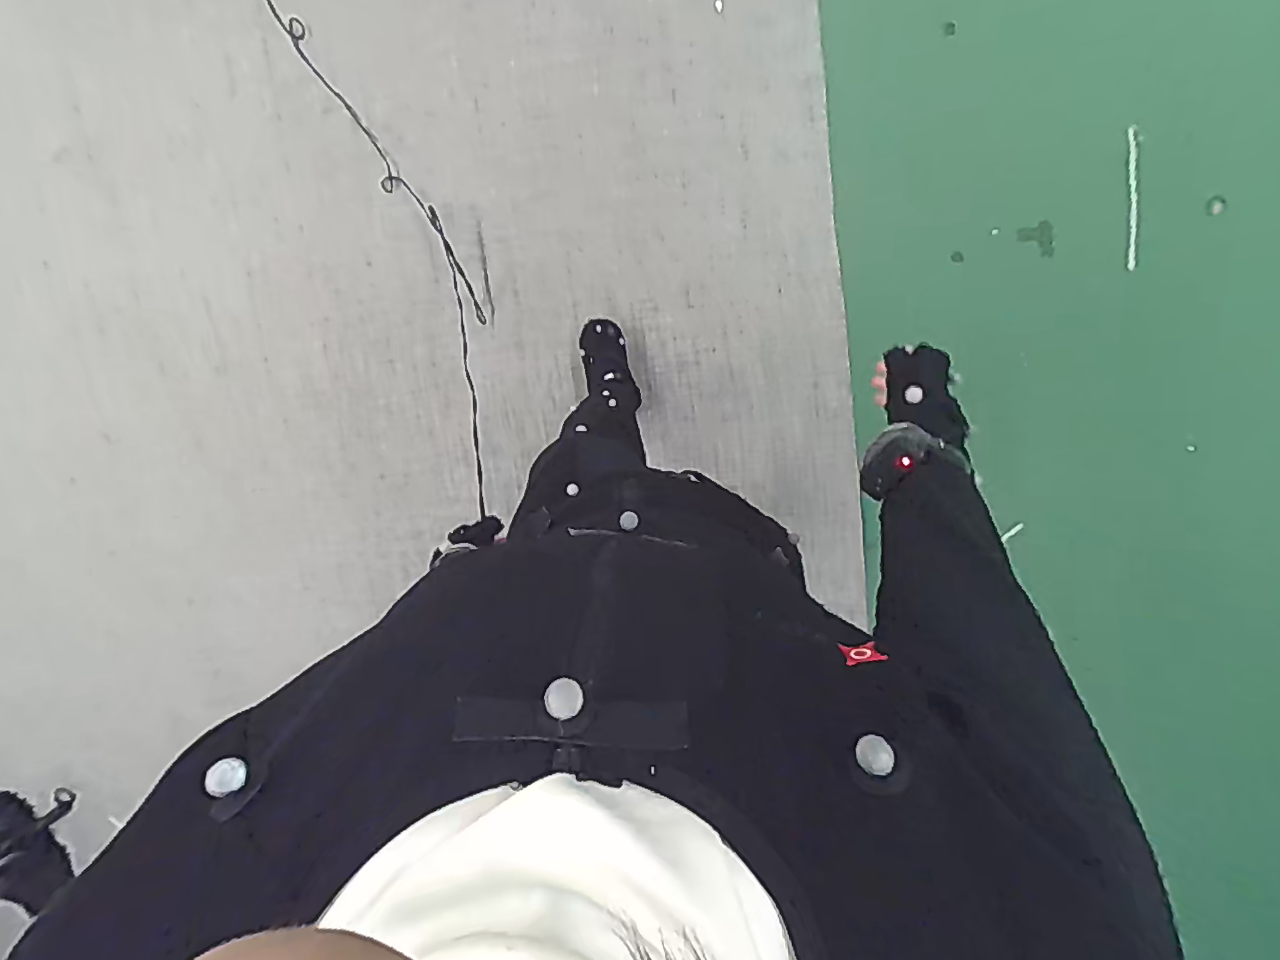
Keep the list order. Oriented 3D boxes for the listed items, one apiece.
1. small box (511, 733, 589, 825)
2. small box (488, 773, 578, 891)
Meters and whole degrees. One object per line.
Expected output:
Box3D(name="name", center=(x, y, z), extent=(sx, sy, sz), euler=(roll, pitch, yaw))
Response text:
Box3D(name="small box", center=(-0.239, 0.818, 1.487), extent=(0.179, 0.176, 0.168), euler=(-5, 96, 5))
Box3D(name="small box", center=(-0.252, 0.848, 1.312), extent=(0.168, 0.176, 0.179), euler=(-6, 96, 4))
